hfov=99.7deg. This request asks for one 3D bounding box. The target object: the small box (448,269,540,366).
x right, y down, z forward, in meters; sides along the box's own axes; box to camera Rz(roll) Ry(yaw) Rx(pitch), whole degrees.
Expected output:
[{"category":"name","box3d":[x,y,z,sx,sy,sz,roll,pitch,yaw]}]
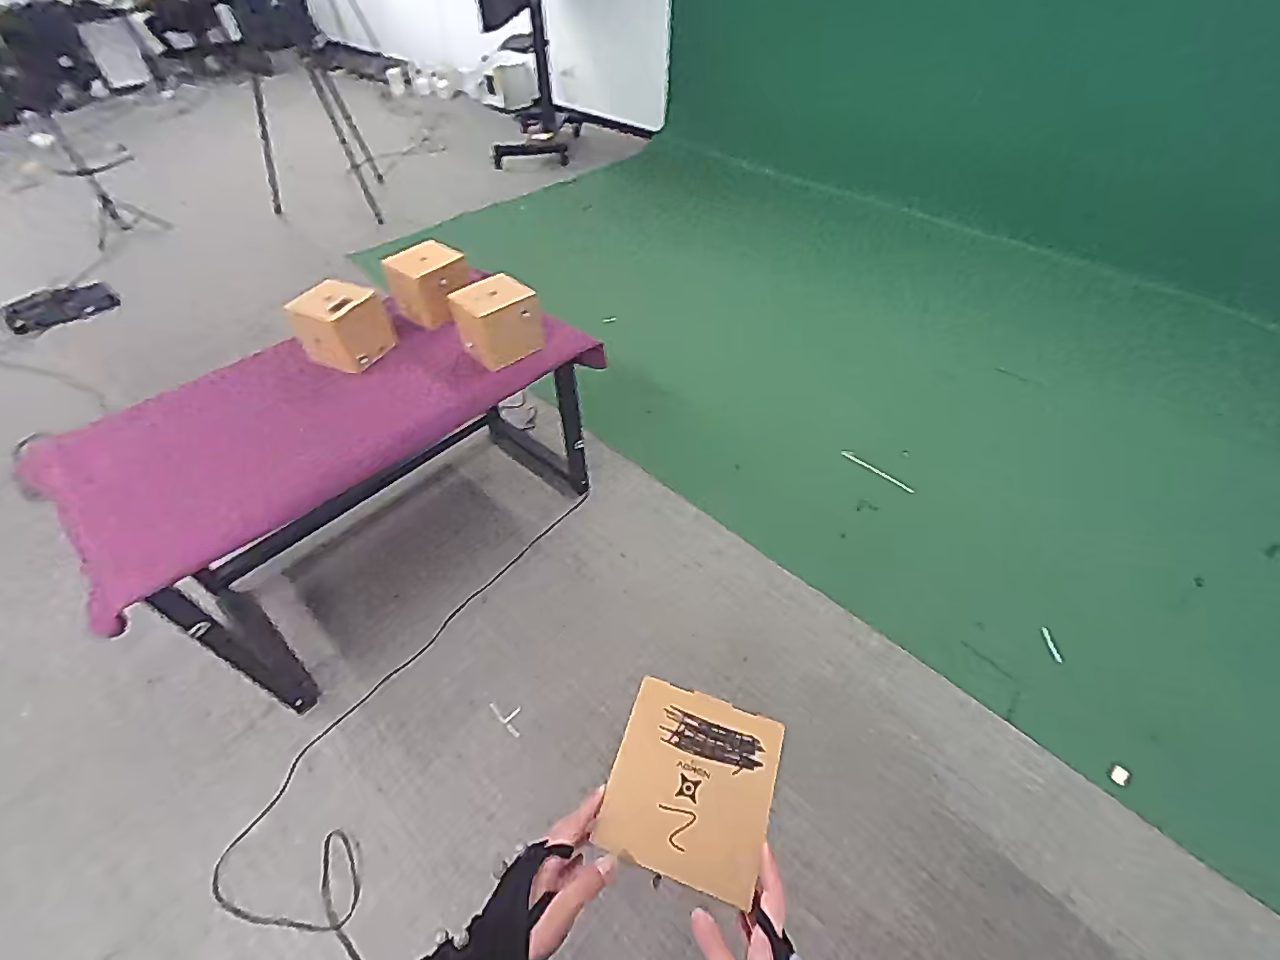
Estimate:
[{"category":"small box","box3d":[-0.389,-0.444,1.478,0.179,0.176,0.168,-36,55,-25]}]

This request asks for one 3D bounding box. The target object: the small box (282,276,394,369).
[{"category":"small box","box3d":[-0.812,-0.425,1.474,0.179,0.176,0.168,18,51,16]}]

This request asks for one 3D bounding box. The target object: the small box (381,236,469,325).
[{"category":"small box","box3d":[-0.629,-0.596,1.621,0.168,0.176,0.179,30,57,24]}]
